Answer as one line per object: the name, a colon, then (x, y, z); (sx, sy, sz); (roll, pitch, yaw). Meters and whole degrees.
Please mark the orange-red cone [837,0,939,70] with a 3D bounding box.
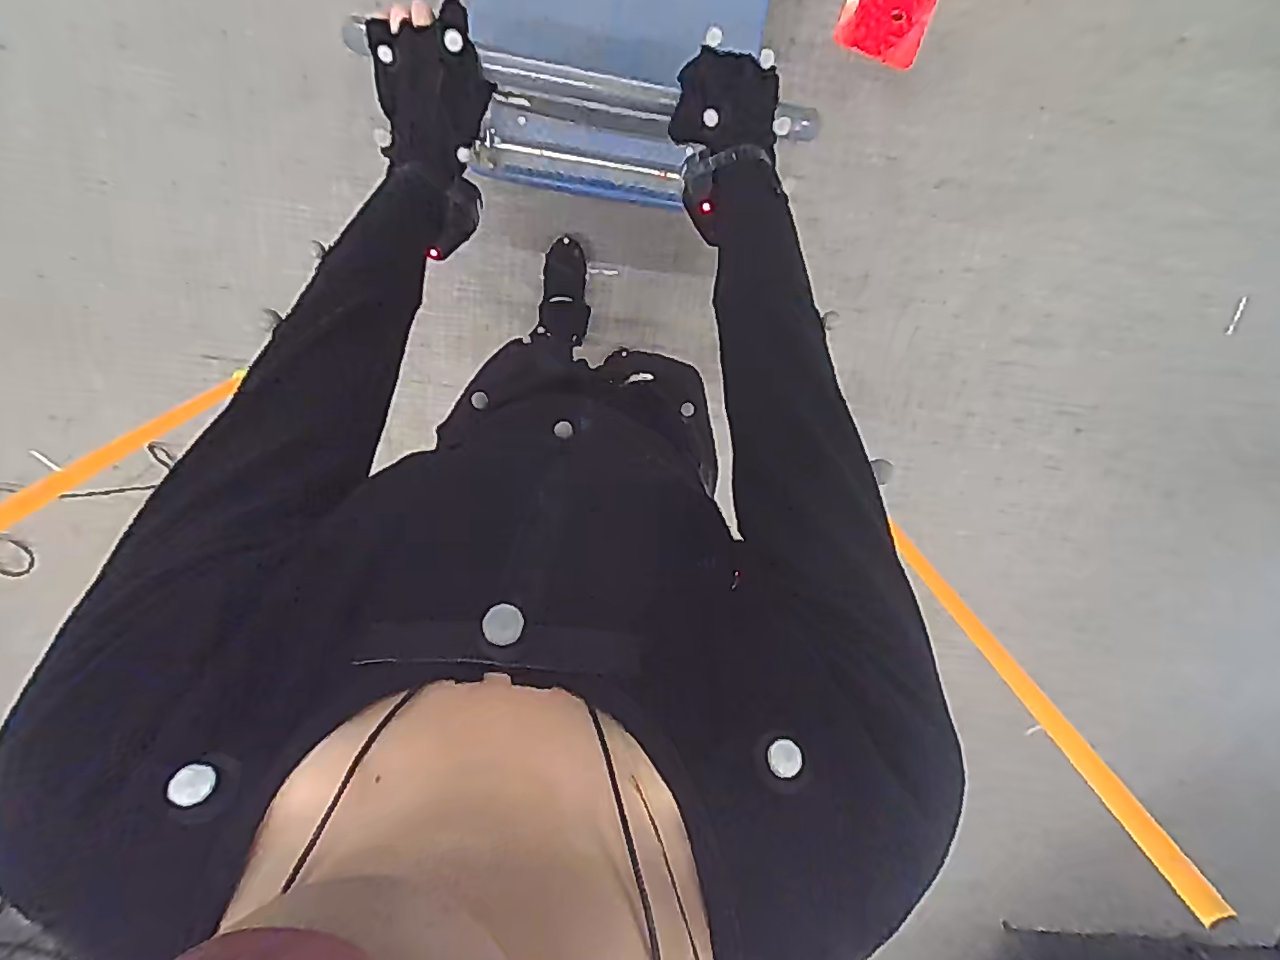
orange-red cone: (0.569, -1.006, 1.052); (0.198, 0.360, 0.199); (17, 107, -8)
